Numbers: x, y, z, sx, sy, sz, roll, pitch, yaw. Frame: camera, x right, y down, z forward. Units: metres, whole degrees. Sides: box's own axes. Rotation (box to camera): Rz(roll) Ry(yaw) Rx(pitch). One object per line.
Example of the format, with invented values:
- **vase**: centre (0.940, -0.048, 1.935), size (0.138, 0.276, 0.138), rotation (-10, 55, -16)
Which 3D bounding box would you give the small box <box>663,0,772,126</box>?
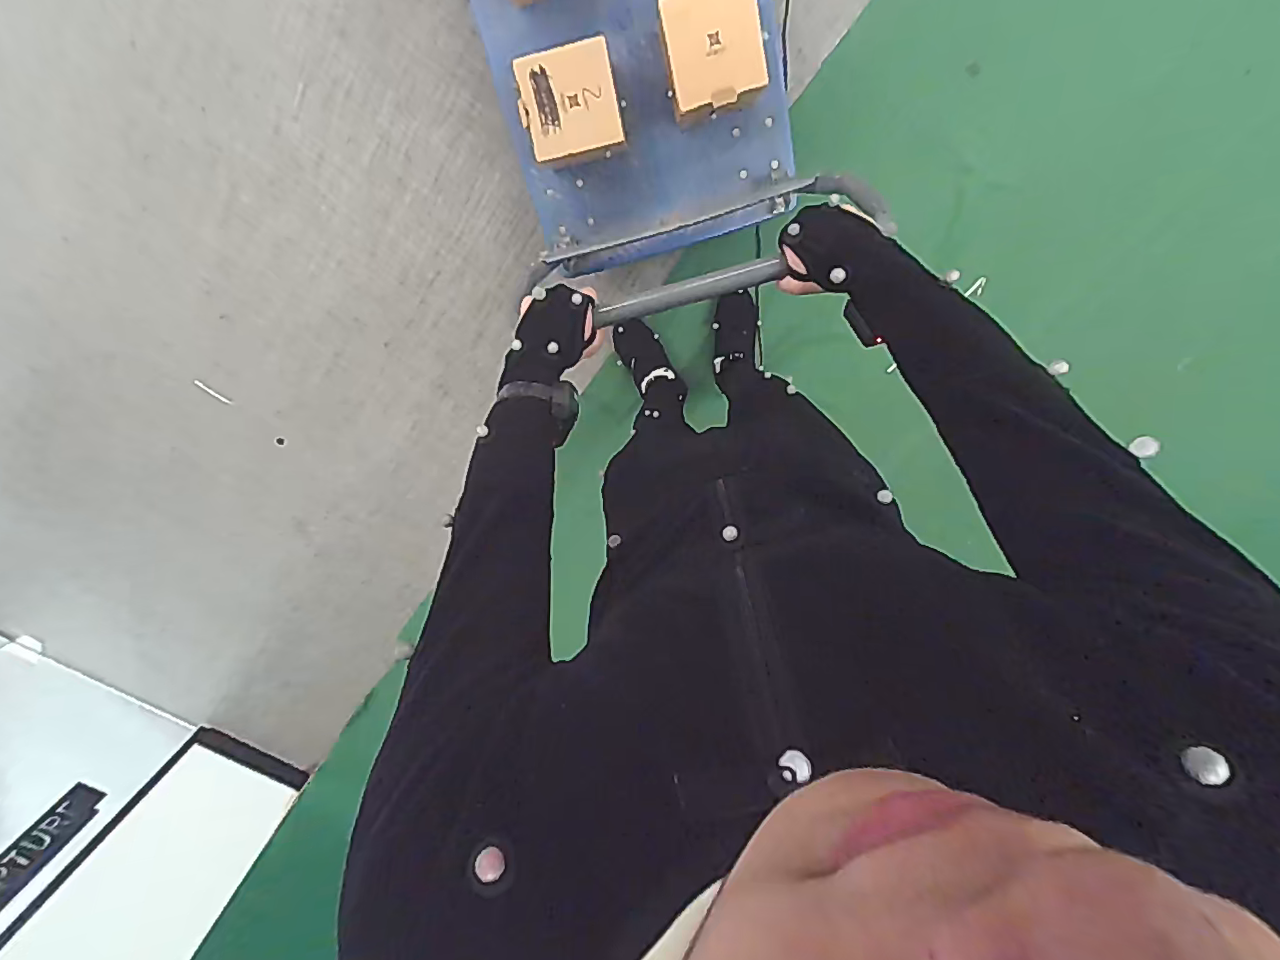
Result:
- **small box**: centre (0.140, -0.804, 1.022), size (0.168, 0.176, 0.179), rotation (-13, 115, 8)
